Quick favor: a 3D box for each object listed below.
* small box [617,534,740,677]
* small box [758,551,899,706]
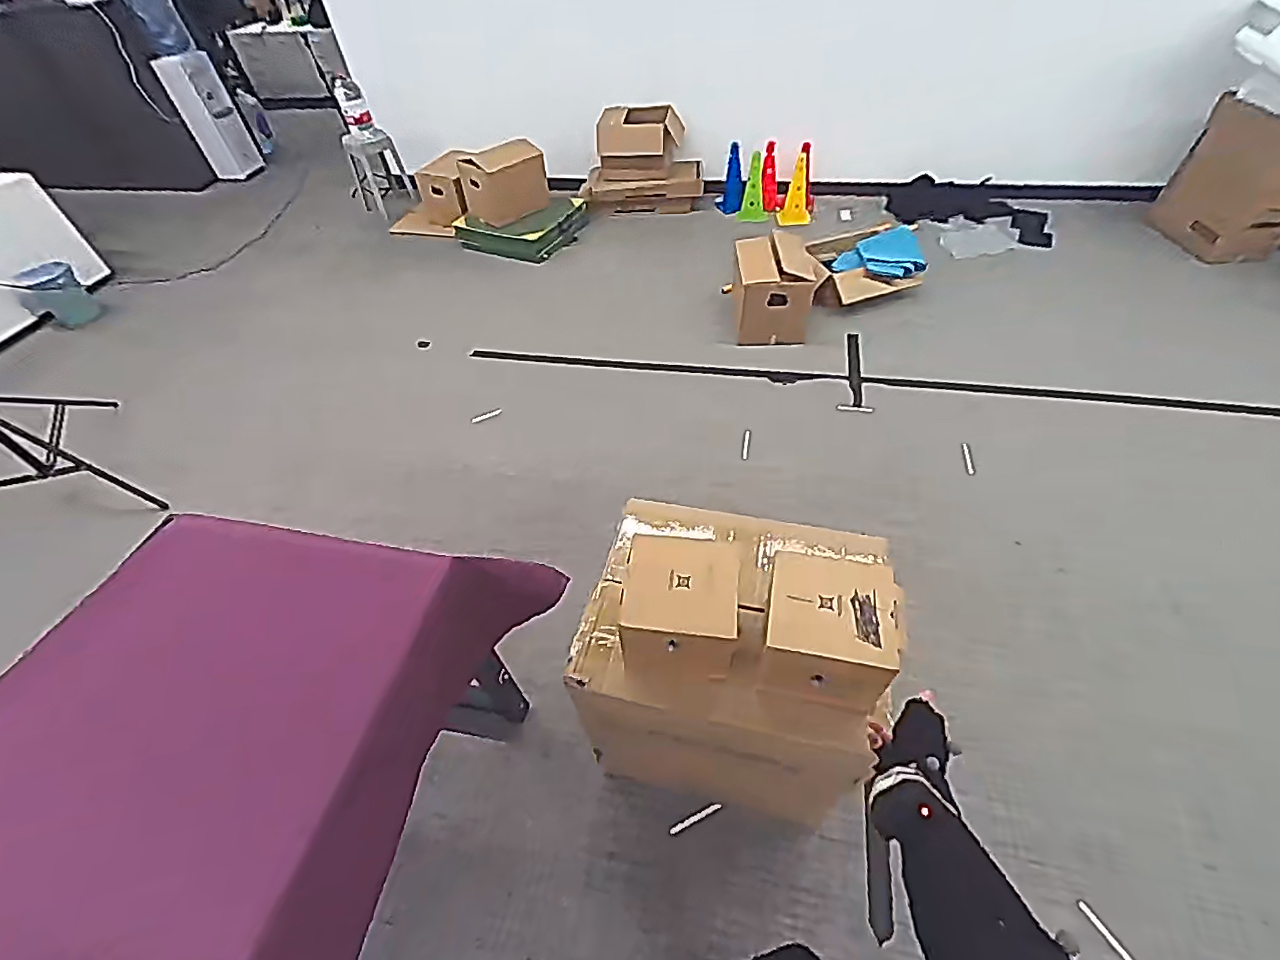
[{"bbox_3d":[0.067,0.208,0.886,0.179,0.176,0.168,5,51,7],"label":"small box"},{"bbox_3d":[0.285,0.234,0.841,0.179,0.176,0.168,6,50,13],"label":"small box"}]
